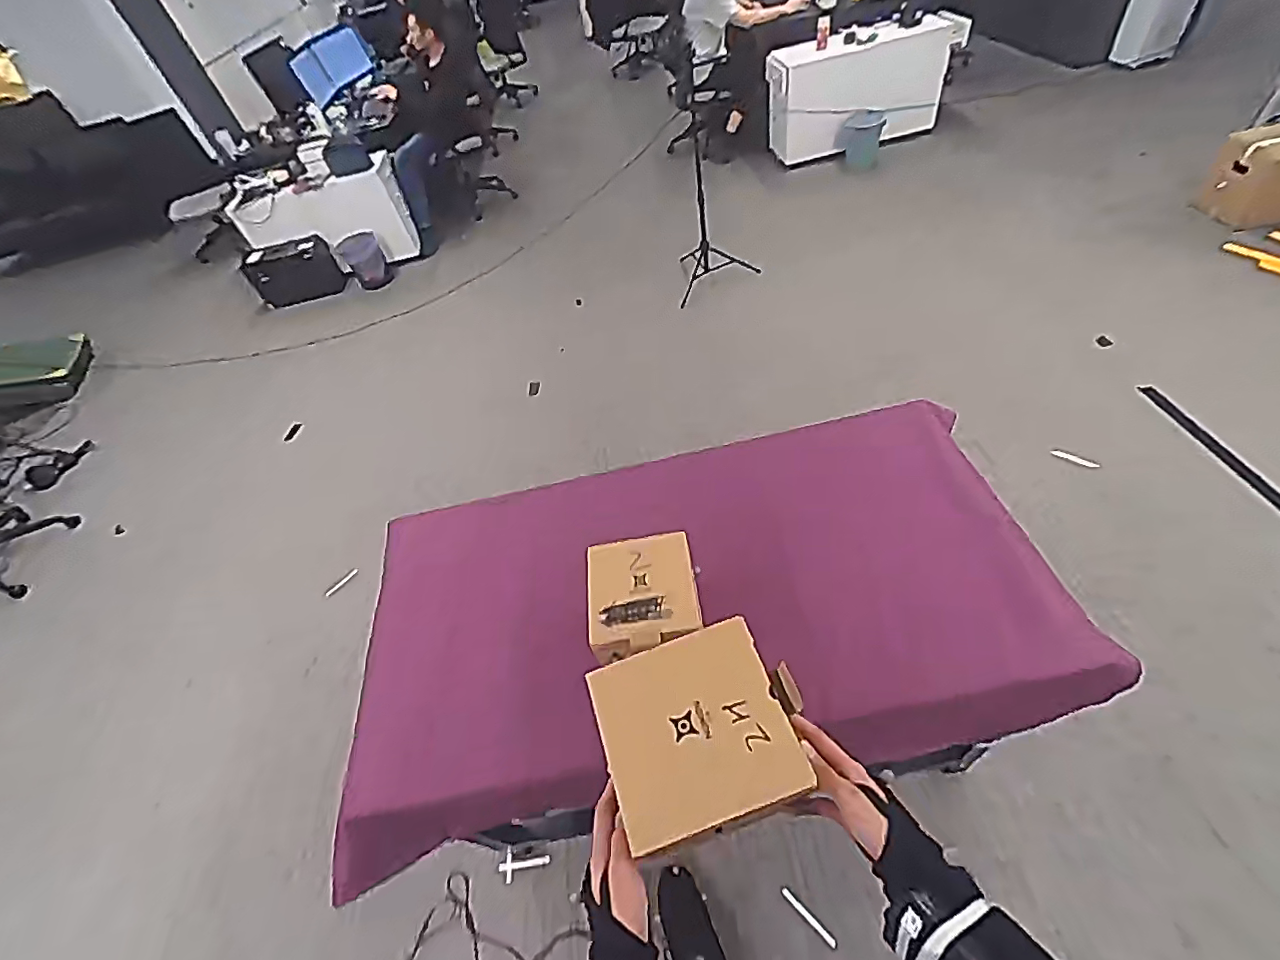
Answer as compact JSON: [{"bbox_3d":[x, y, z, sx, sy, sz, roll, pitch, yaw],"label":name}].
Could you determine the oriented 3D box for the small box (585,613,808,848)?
[{"bbox_3d":[0.059,0.274,0.580,0.179,0.176,0.168,-19,53,-3],"label":"small box"}]
